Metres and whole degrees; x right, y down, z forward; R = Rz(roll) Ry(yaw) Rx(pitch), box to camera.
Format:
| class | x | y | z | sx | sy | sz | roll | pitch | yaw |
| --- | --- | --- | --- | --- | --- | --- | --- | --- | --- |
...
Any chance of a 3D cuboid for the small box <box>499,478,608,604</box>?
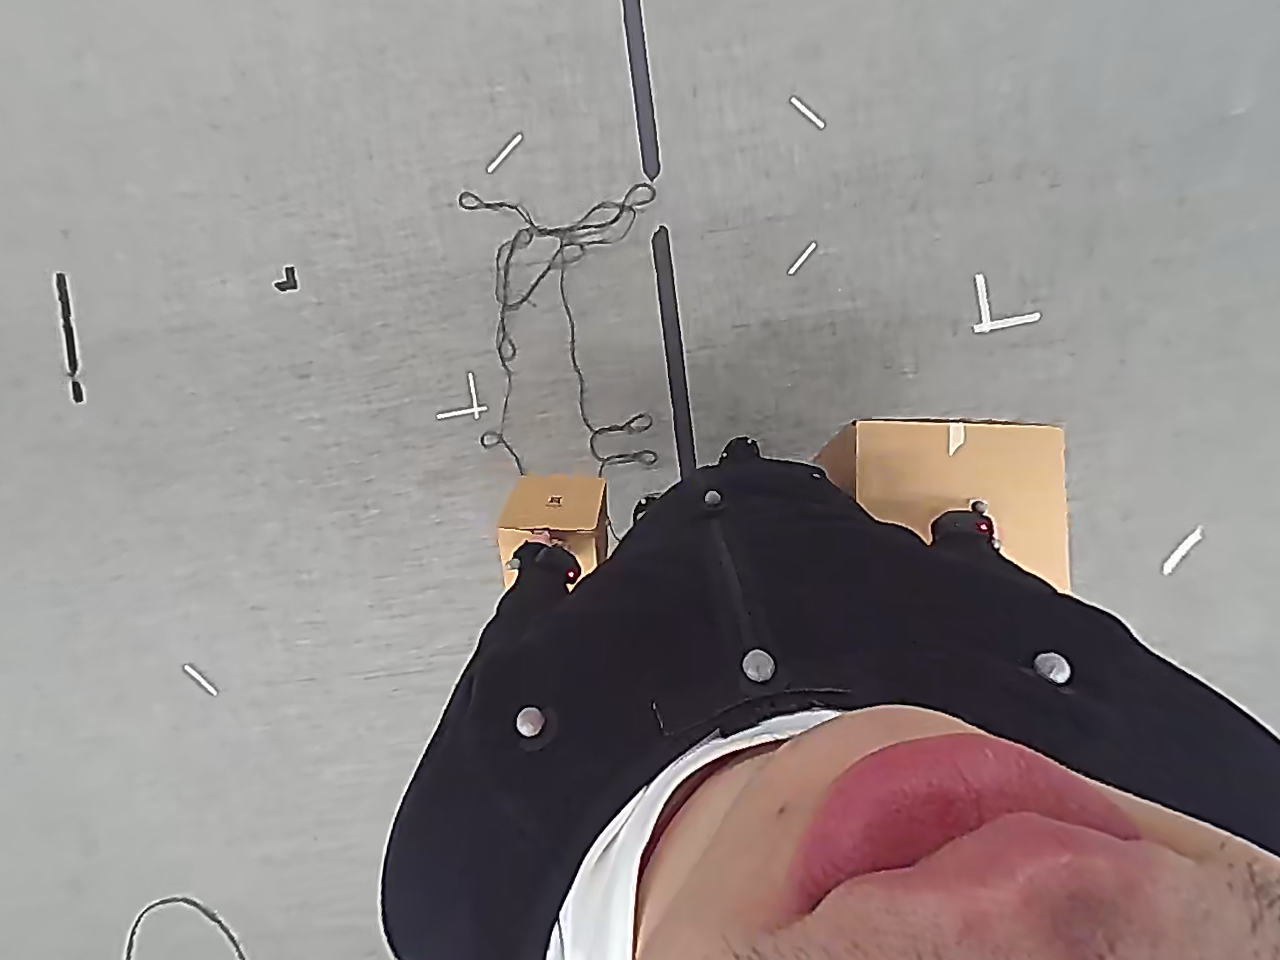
| class | x | y | z | sx | sy | sz | roll | pitch | yaw |
| --- | --- | --- | --- | --- | --- | --- | --- | --- | --- |
| small box | -0.149 | 0.111 | 0.999 | 0.168 | 0.179 | 0.176 | 2 | 120 | 2 |
